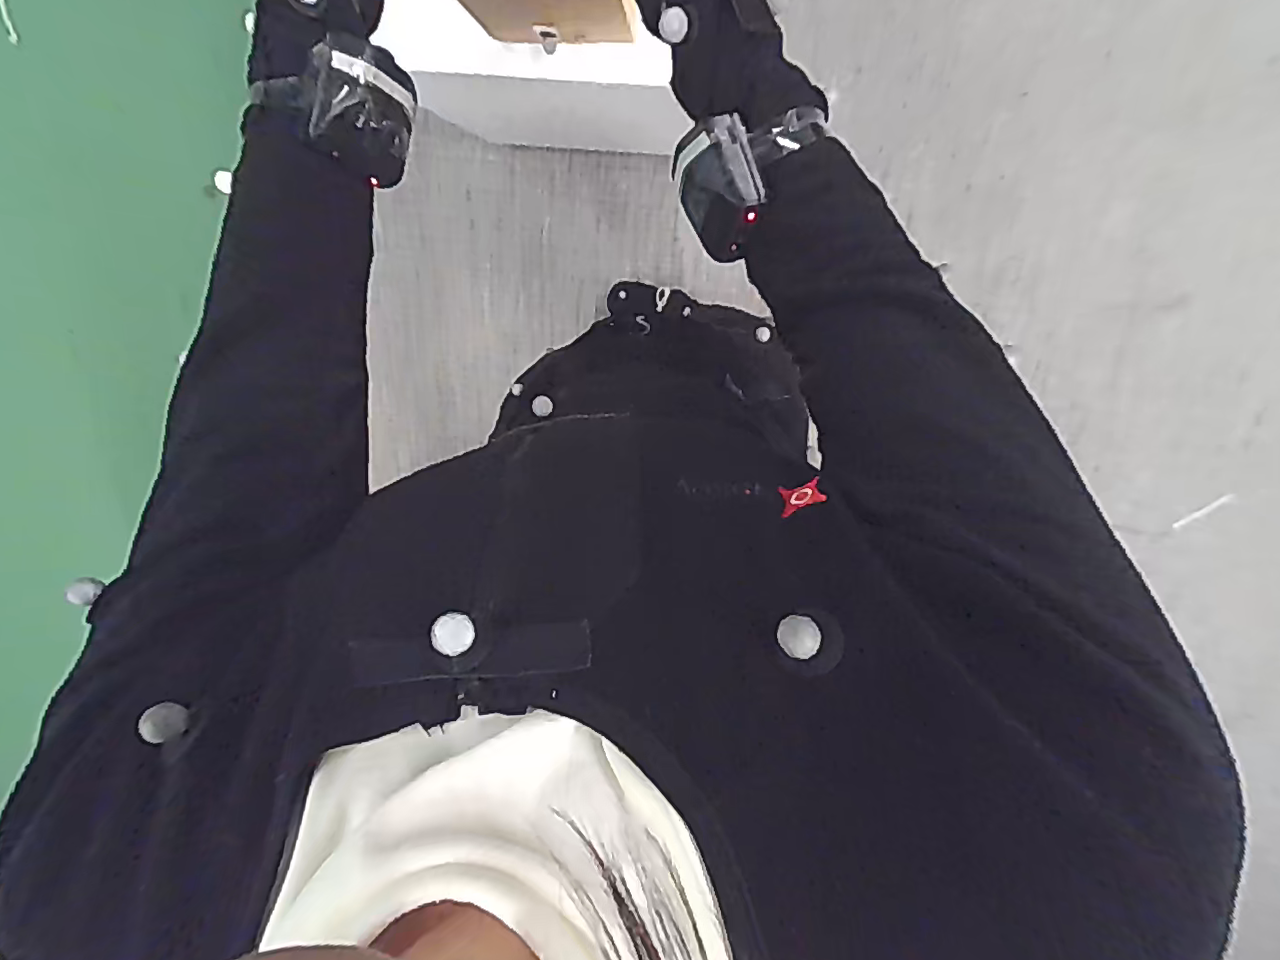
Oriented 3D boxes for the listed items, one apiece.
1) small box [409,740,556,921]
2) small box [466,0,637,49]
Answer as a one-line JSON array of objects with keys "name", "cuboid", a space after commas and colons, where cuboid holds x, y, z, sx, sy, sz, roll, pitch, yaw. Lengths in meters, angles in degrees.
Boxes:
[{"name": "small box", "cuboid": [-0.236, 0.541, 0.849, 0.179, 0.176, 0.168, 8, 114, 3]}, {"name": "small box", "cuboid": [-0.092, -0.548, 0.518, 0.168, 0.176, 0.179, 3, 115, 6]}]
